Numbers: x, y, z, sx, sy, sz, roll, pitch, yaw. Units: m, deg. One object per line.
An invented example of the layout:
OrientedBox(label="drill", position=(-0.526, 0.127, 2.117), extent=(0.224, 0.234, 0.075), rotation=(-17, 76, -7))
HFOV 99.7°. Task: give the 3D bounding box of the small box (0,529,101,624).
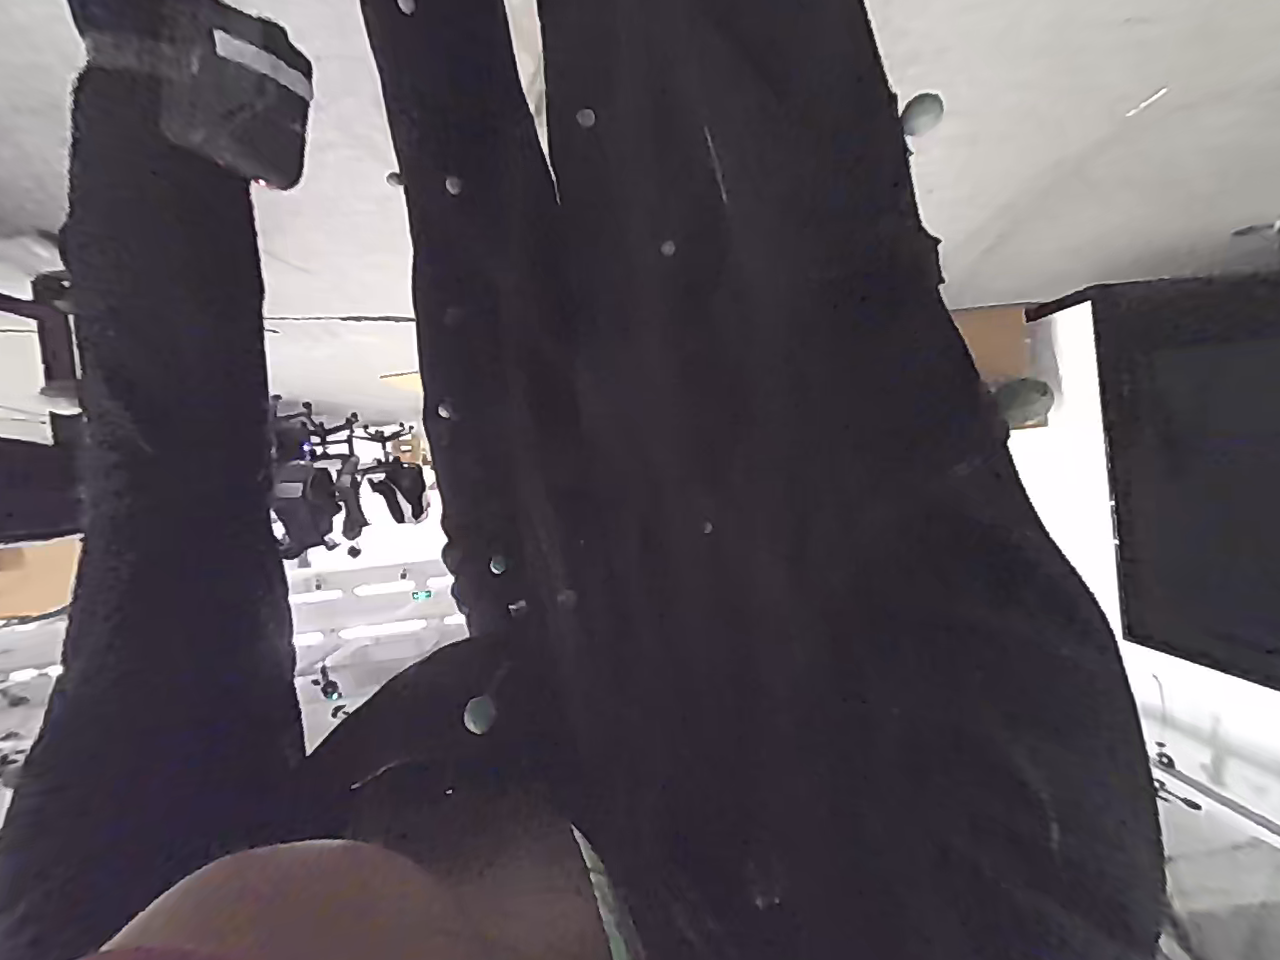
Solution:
OrientedBox(label="small box", position=(-1.283, 0.194, 1.111), extent=(0.179, 0.176, 0.168), rotation=(-5, -179, -5))
